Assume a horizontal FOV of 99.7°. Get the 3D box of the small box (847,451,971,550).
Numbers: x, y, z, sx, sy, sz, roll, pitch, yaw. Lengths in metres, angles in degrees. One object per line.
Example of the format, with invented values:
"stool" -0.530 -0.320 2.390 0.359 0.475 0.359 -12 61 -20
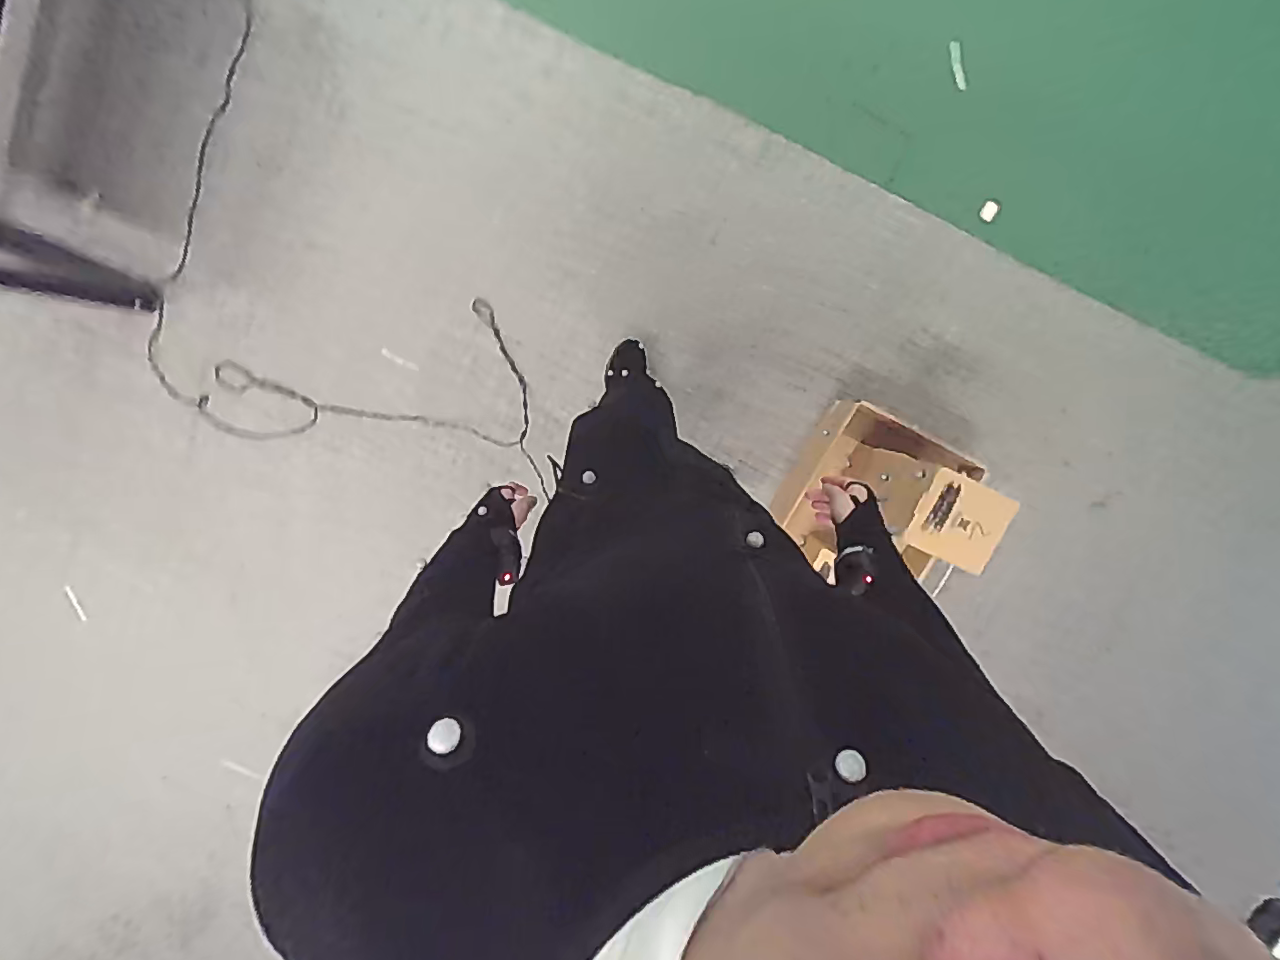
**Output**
"small box" 0.633 0.040 1.297 0.179 0.176 0.168 25 99 -2
